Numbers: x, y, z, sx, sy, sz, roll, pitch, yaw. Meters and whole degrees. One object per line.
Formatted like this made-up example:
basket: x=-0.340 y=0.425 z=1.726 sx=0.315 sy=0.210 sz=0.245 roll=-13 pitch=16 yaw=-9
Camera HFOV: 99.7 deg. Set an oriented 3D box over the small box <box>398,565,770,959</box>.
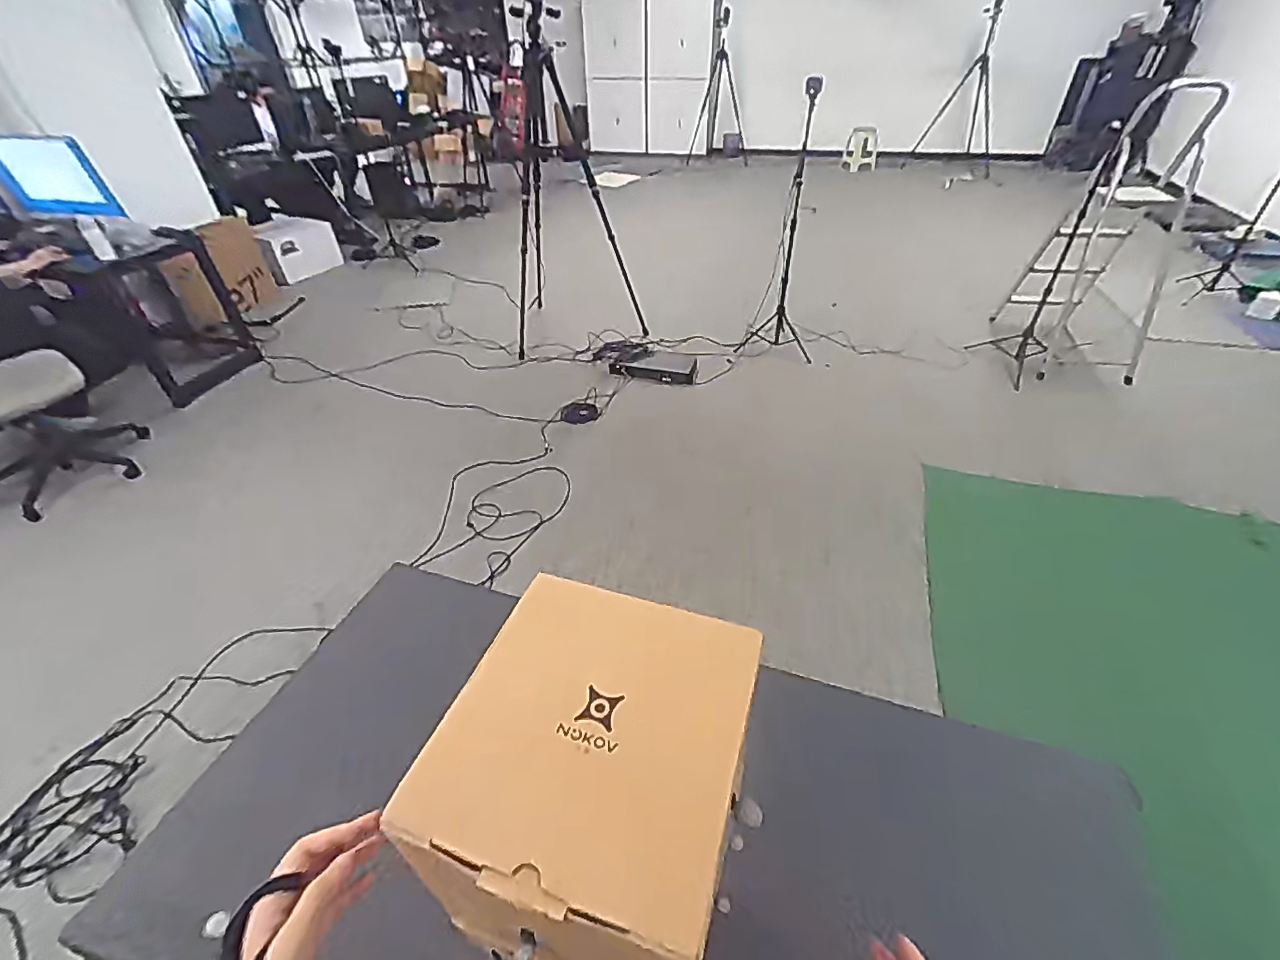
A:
small box: x=-0.019 y=0.191 z=0.360 sx=0.168 sy=0.176 sz=0.179 roll=11 pitch=41 yaw=15
